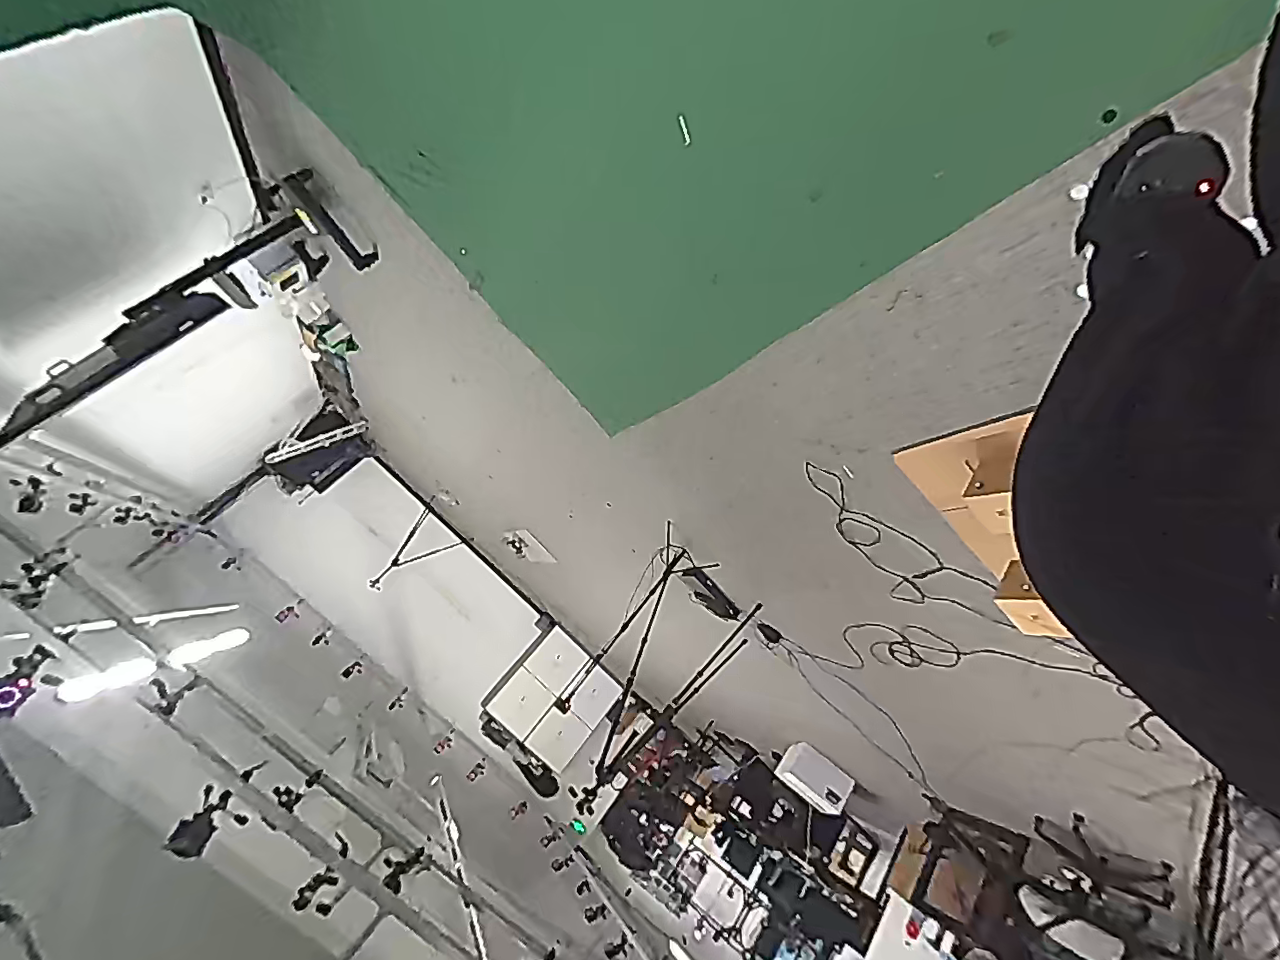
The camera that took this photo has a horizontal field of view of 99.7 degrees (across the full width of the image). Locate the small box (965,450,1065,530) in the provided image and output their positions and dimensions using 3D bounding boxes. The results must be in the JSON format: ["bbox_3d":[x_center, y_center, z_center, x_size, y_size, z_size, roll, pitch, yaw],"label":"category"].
[{"bbox_3d":[1.143,0.033,1.646,0.168,0.176,0.179,46,154,-12],"label":"small box"}]

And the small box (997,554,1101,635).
[{"bbox_3d":[1.231,0.341,1.627,0.168,0.176,0.179,45,155,-8],"label":"small box"}]
